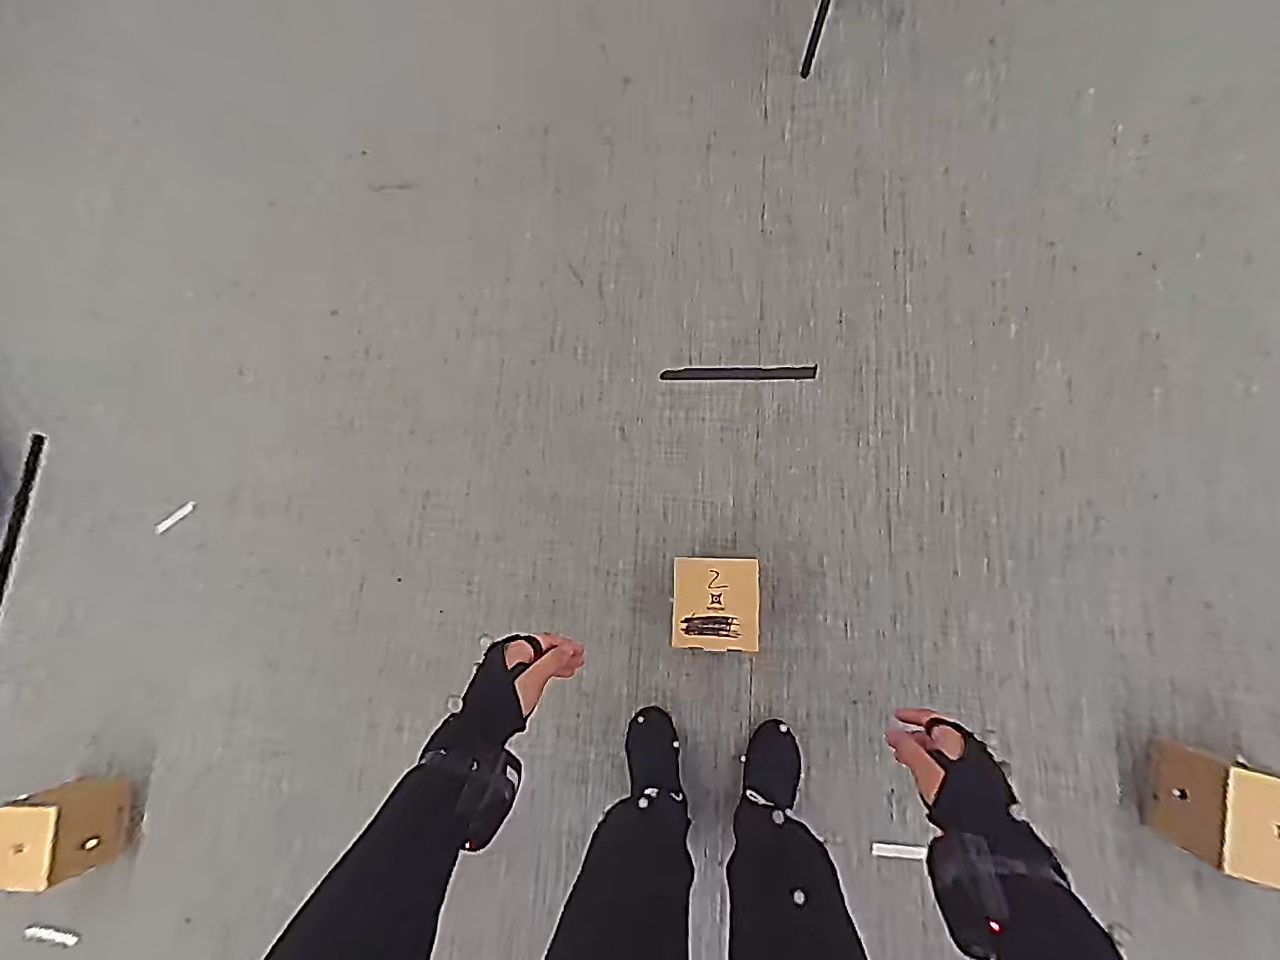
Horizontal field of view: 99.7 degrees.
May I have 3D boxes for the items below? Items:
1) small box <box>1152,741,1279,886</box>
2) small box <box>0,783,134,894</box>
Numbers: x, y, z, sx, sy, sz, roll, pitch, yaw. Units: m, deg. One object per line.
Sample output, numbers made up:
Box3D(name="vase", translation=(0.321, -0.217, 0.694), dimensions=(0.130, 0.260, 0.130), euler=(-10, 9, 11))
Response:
Box3D(name="small box", translation=(1.030, 0.566, 0.918), dimensions=(0.179, 0.176, 0.168), euler=(11, 82, 11))
Box3D(name="small box", translation=(-1.330, 0.817, 1.248), dimensions=(0.179, 0.176, 0.168), euler=(-5, 79, 9))
